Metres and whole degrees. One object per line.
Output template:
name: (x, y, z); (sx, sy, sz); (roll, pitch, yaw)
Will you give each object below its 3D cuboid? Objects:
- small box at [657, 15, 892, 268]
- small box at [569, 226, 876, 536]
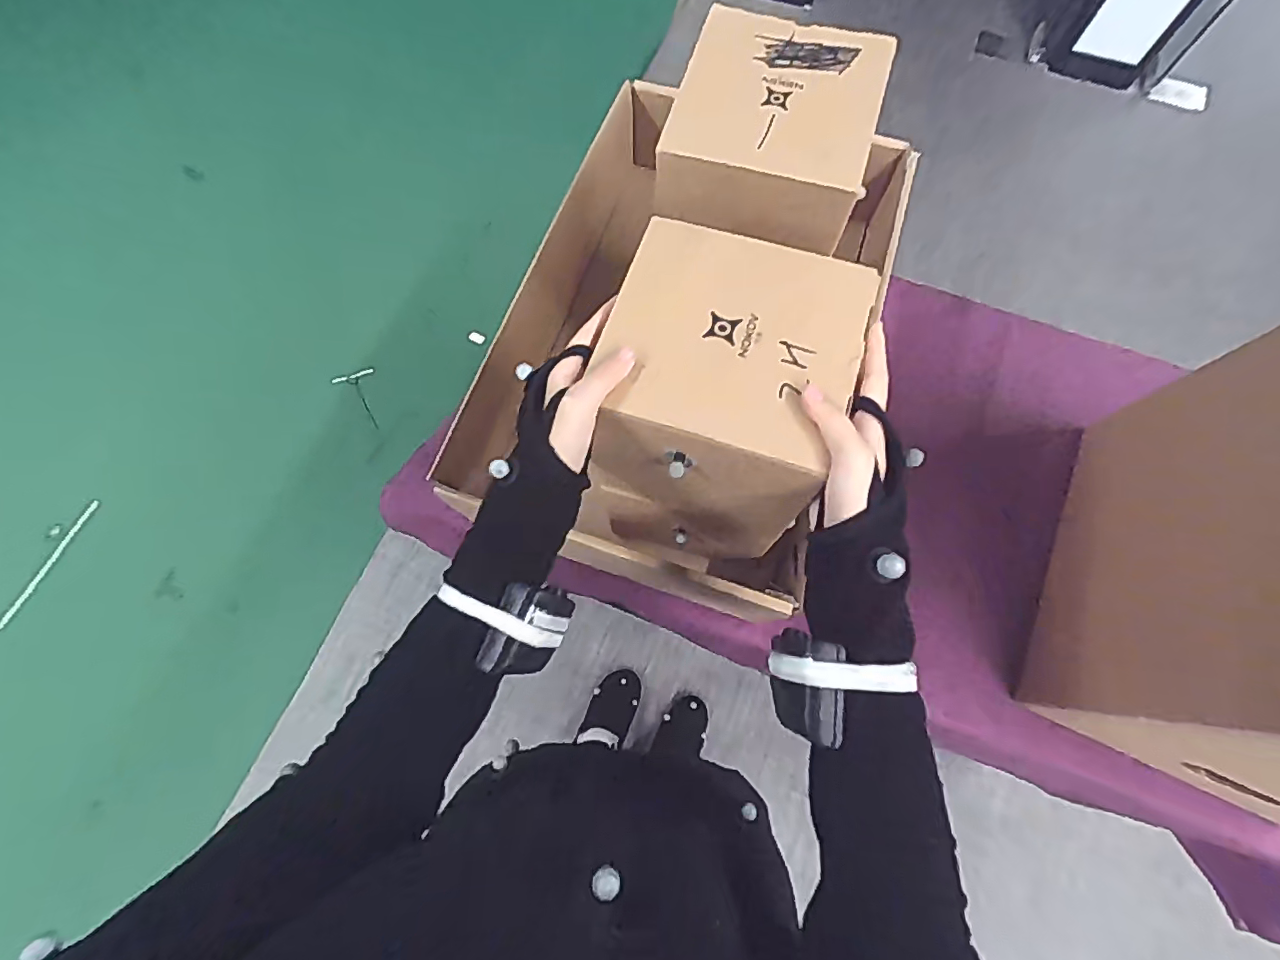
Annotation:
small box: (0.117, -0.289, 0.526); (0.168, 0.176, 0.179); (17, 74, 7)
small box: (0.062, -0.068, 0.448); (0.179, 0.176, 0.168); (19, 72, 8)
